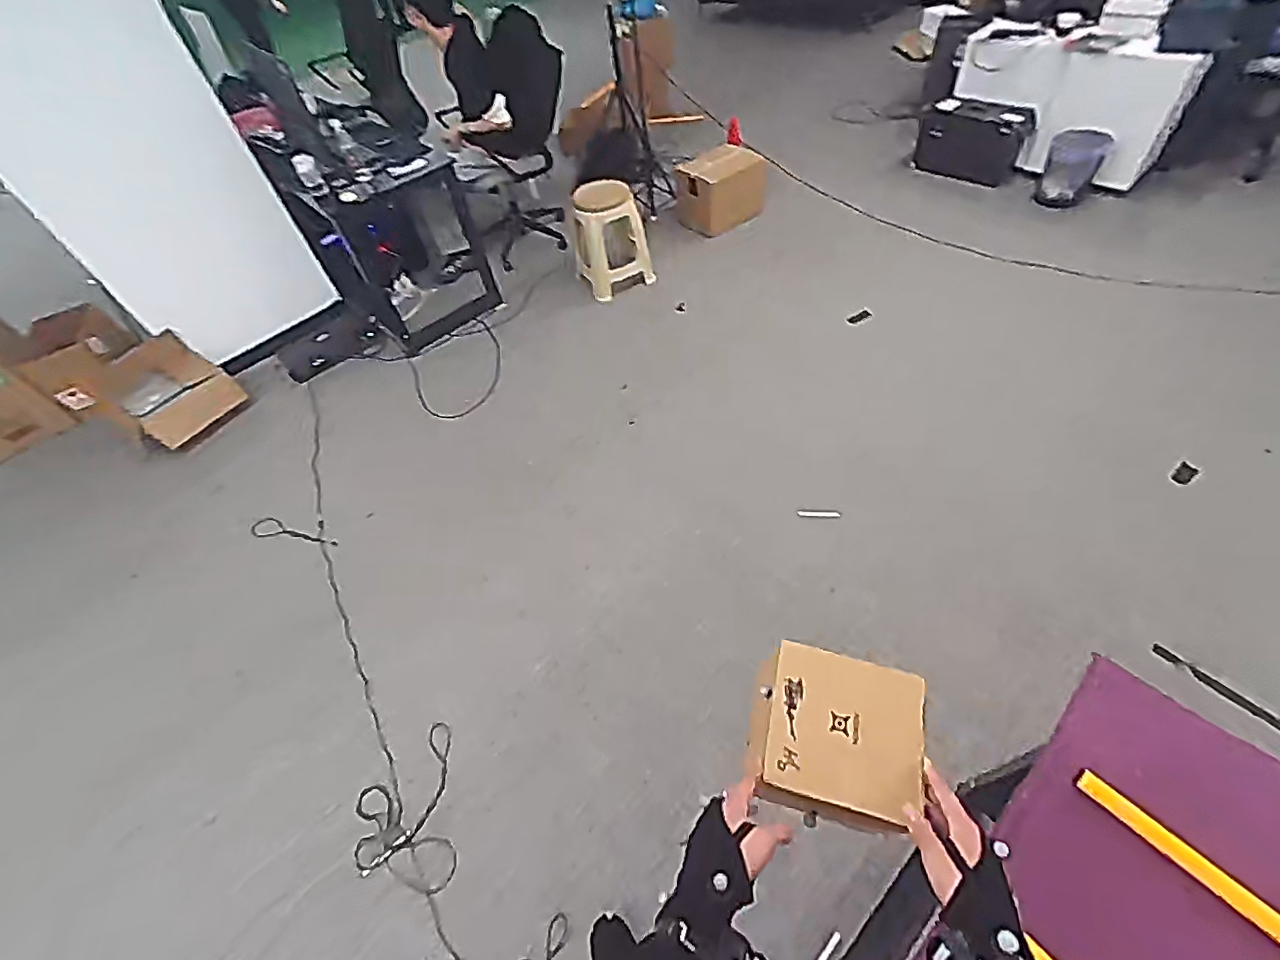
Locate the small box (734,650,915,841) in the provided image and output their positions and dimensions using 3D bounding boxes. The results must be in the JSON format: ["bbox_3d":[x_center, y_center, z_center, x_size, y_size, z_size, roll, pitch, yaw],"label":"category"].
[{"bbox_3d":[0.232,0.344,0.701,0.179,0.176,0.168,13,57,8],"label":"small box"}]
